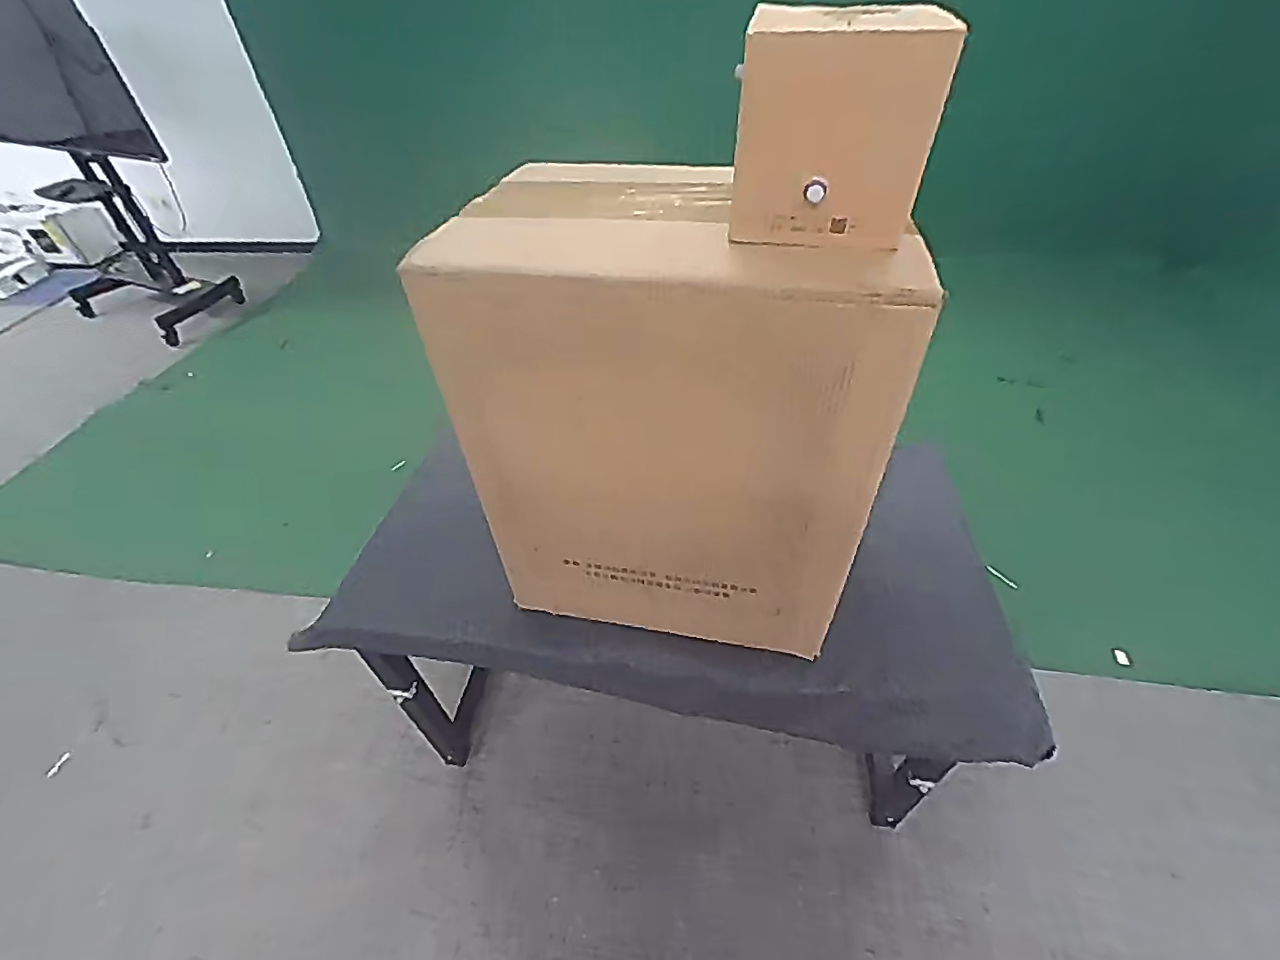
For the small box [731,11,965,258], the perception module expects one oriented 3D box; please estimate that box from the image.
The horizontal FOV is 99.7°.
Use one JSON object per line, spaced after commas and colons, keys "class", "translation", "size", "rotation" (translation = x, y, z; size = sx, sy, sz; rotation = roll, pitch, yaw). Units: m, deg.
{"class": "small box", "translation": [0.185, -0.342, 0.534], "size": [0.168, 0.176, 0.179], "rotation": [8, 47, 9]}
